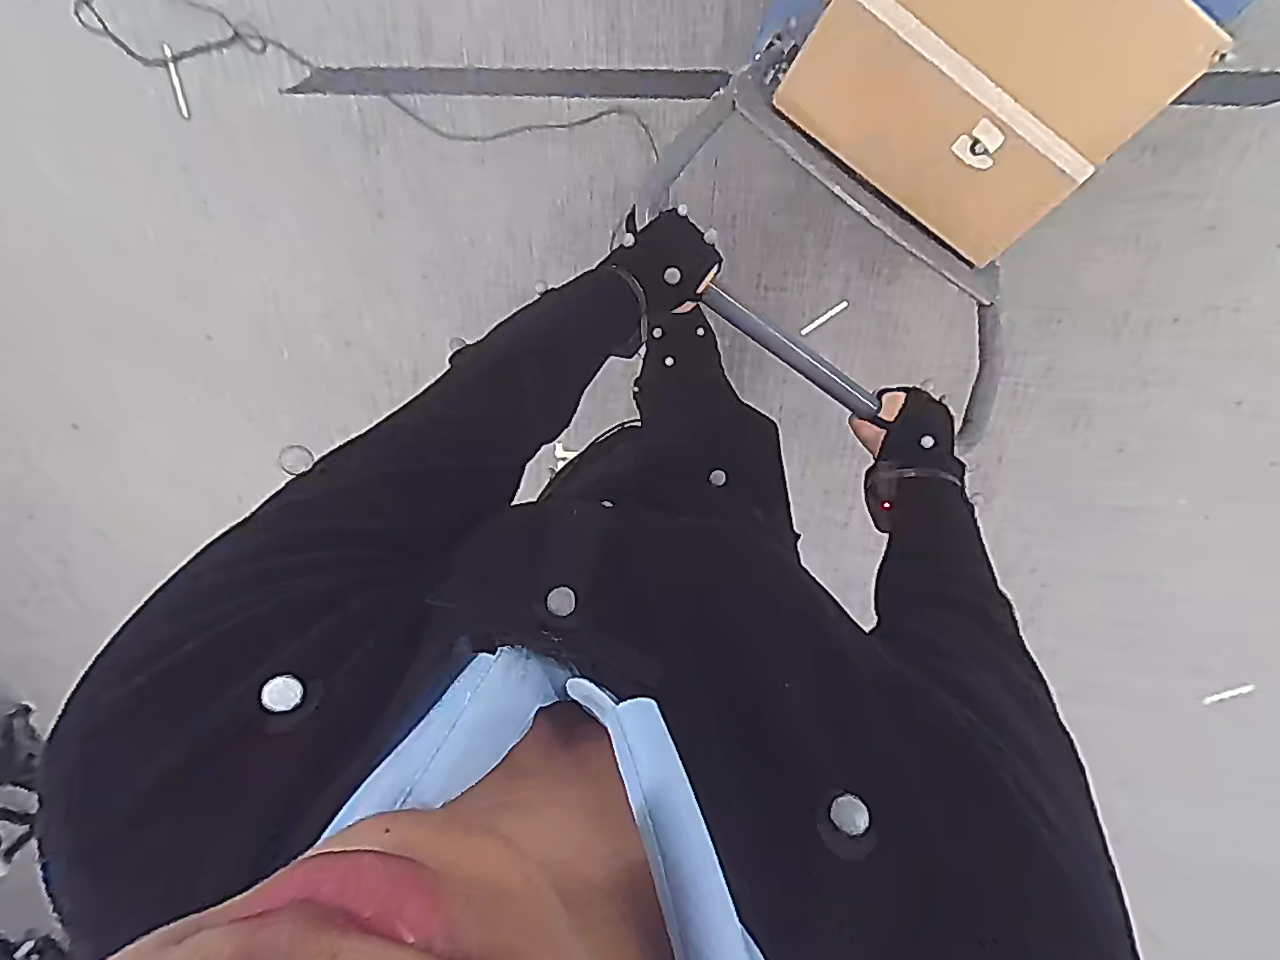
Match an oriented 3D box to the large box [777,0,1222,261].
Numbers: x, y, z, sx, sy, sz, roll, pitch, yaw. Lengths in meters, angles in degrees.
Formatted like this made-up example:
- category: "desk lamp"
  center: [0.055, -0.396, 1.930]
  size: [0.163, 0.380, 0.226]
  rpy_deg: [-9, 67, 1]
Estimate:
- category: "large box"
  center: [0.474, -0.616, 0.796]
  size: [0.408, 0.320, 0.320]
  rpy_deg: [33, 139, -7]
